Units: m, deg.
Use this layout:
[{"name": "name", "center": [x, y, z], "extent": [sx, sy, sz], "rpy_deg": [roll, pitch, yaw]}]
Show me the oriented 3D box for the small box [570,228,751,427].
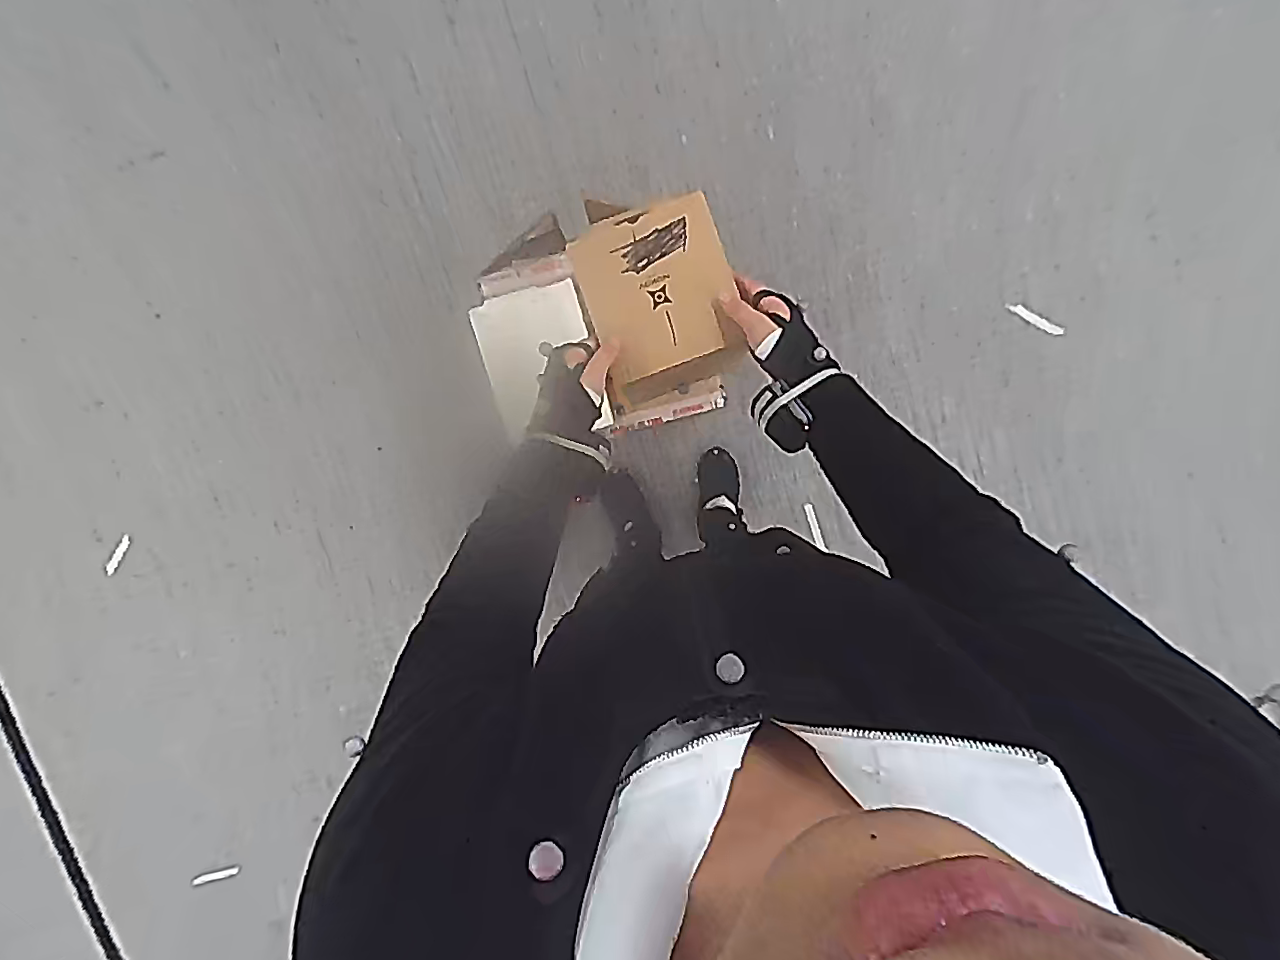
[{"name": "small box", "center": [0.026, -0.178, 0.691], "extent": [0.168, 0.176, 0.179], "rpy_deg": [-19, 90, 5]}]
